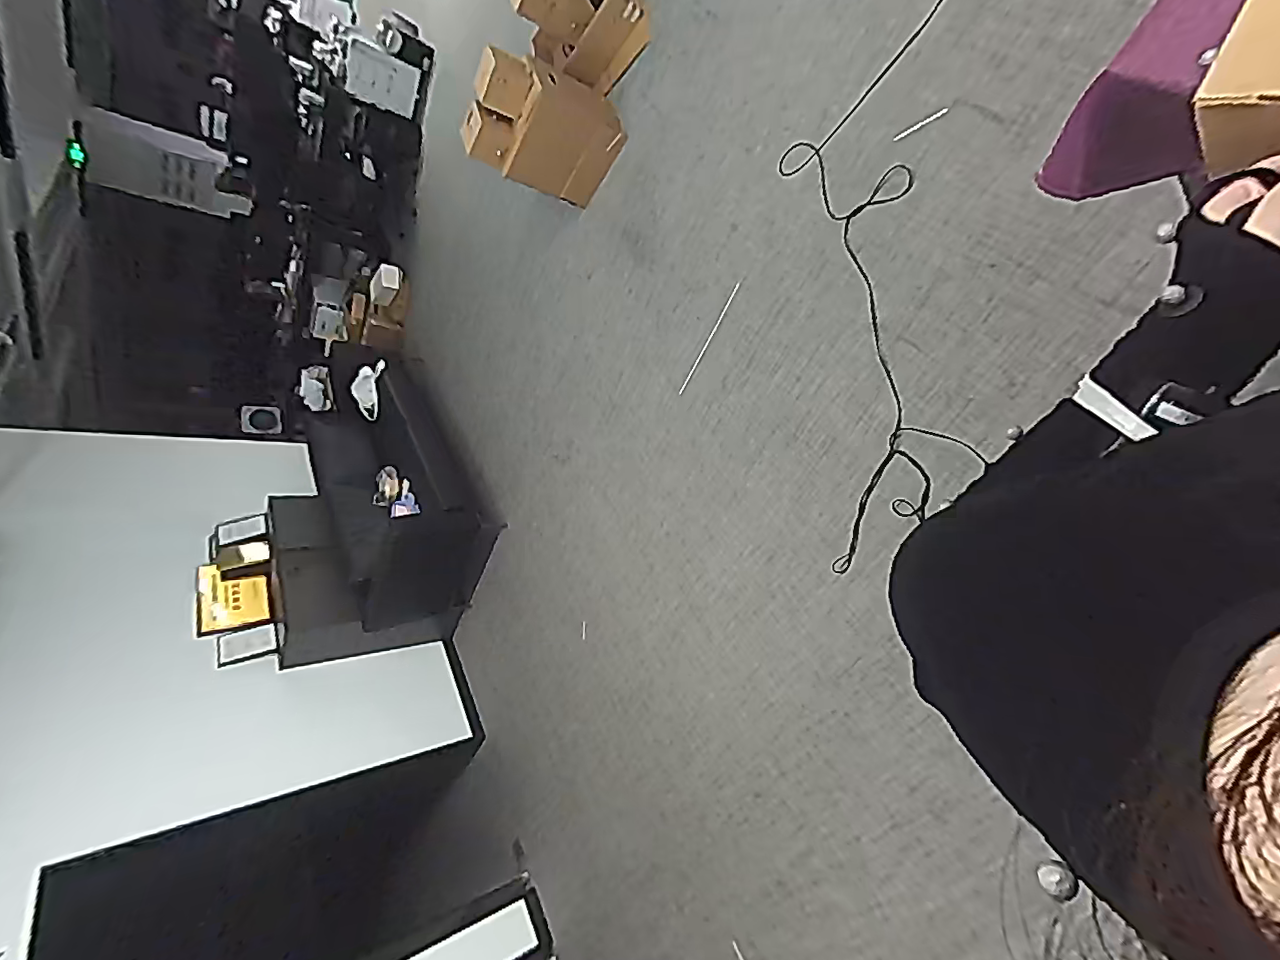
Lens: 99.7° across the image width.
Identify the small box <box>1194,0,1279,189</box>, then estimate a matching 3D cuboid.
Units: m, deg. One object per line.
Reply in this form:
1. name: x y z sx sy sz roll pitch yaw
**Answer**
1. small box: 0.510 -0.304 0.344 0.168 0.176 0.179 35 117 42
